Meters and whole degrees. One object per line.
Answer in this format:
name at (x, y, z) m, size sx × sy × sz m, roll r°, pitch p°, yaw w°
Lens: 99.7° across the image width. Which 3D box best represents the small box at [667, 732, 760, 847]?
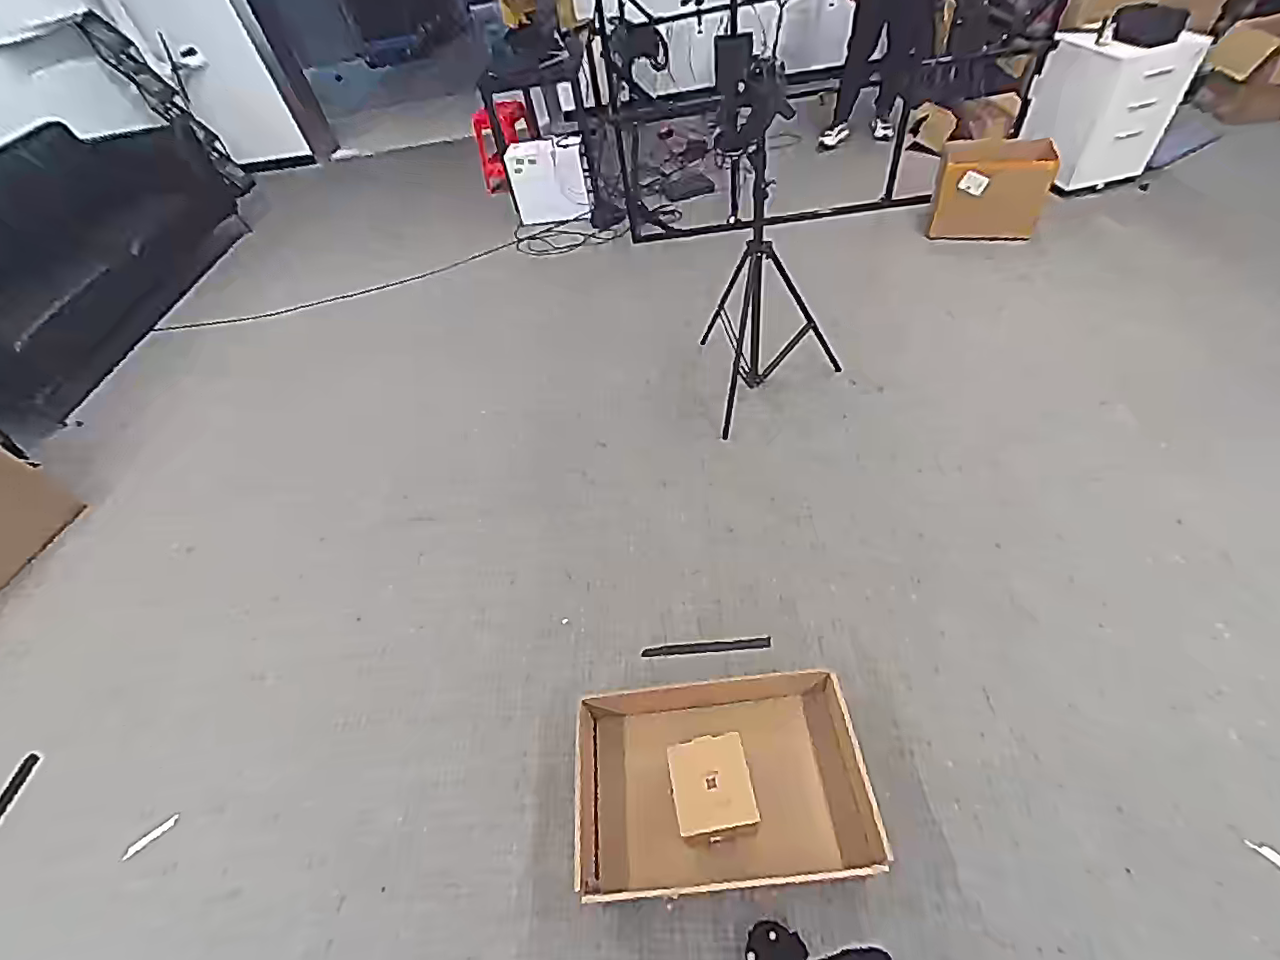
small box at (0.159, 0.686, 1.194) m, size 0.168 × 0.176 × 0.179 m, roll -13°, pitch 50°, yaw 0°
